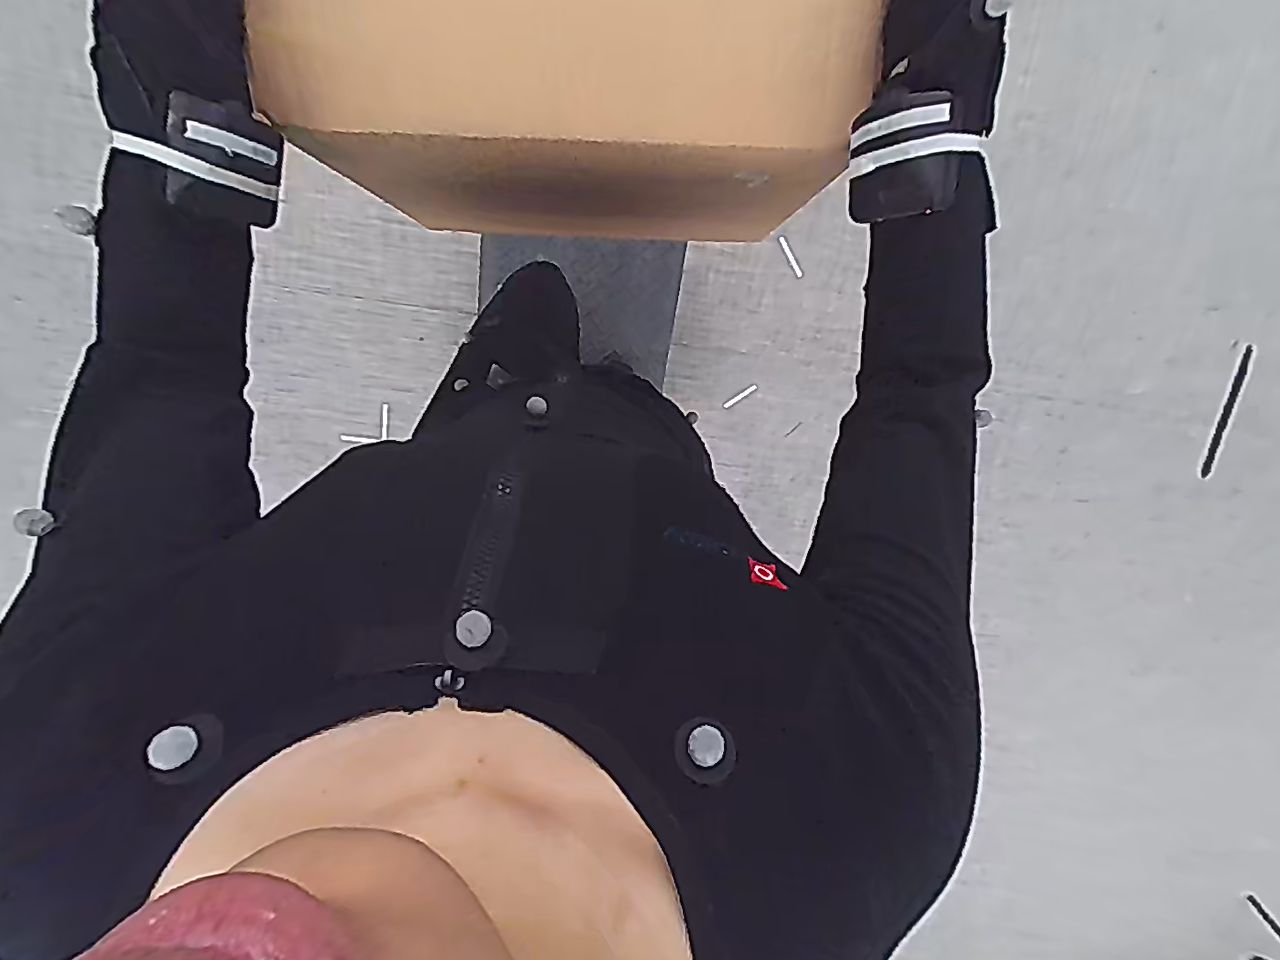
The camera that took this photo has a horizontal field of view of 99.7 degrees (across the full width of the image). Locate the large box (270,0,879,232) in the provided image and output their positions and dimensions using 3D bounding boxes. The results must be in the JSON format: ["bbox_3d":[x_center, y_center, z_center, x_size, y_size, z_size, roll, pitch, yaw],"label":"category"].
[{"bbox_3d":[-0.044,-0.419,0.480,0.408,0.320,0.320,1,104,-2],"label":"large box"}]
